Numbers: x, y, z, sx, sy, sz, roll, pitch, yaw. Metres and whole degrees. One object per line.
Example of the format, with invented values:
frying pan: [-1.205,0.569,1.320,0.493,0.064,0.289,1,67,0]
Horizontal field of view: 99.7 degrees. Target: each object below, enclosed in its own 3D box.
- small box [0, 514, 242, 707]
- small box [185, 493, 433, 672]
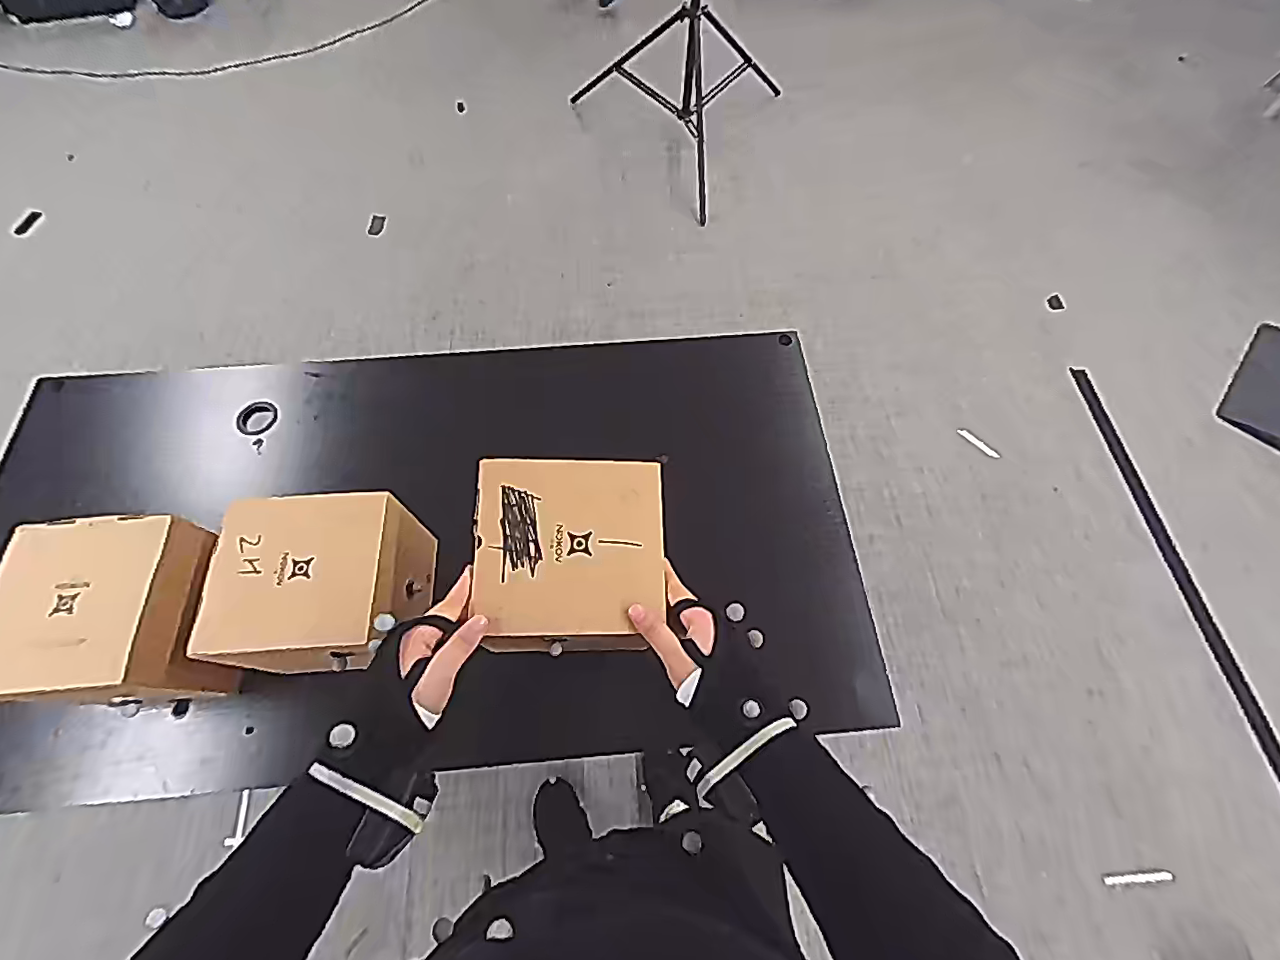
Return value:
small box: [-0.573,0.154,0.611,0.168,0.176,0.179,-5,66,-1]
small box: [-0.355,0.124,0.625,0.179,0.176,0.168,-3,65,-2]
